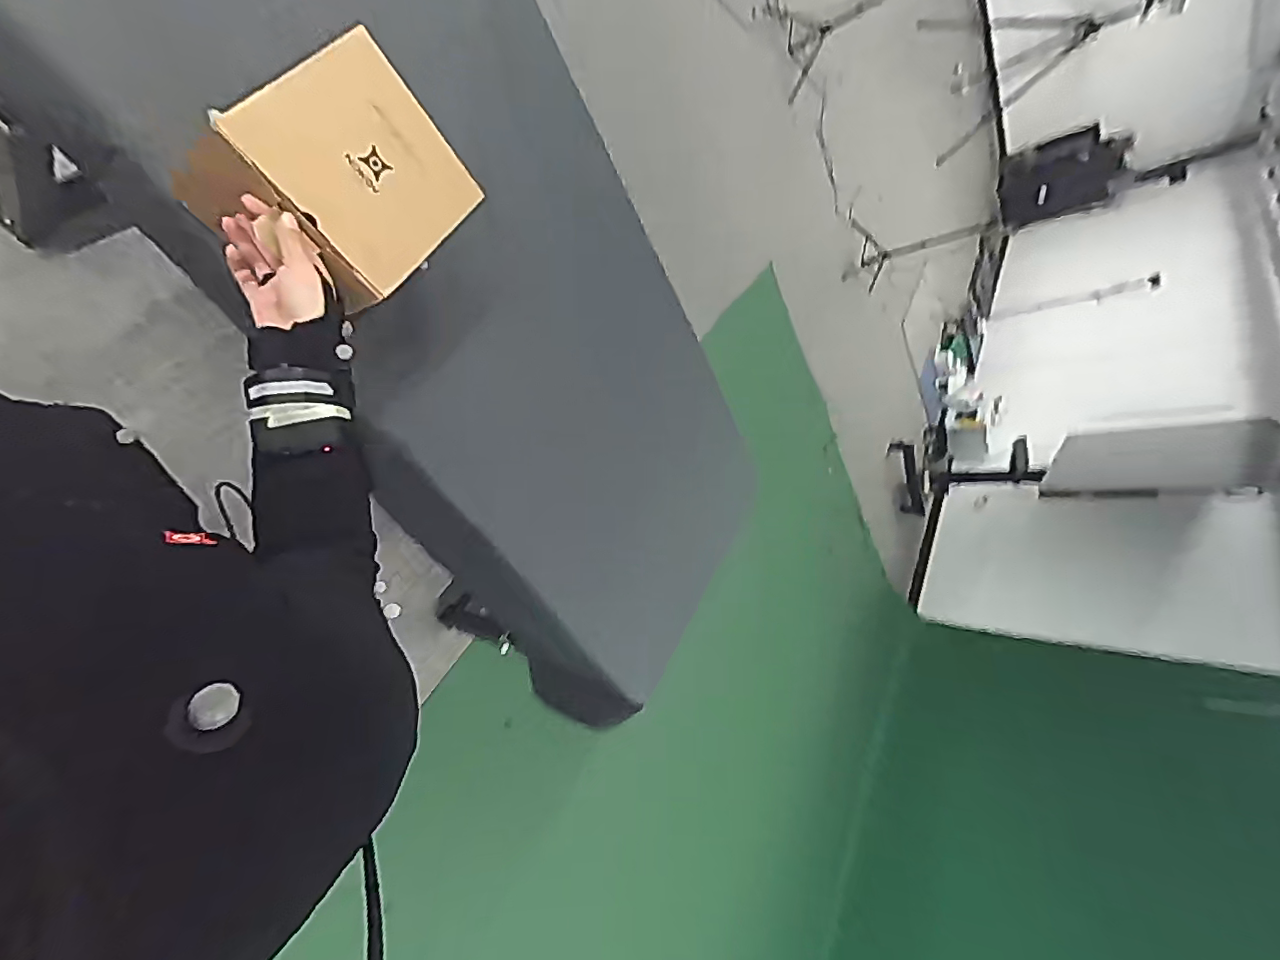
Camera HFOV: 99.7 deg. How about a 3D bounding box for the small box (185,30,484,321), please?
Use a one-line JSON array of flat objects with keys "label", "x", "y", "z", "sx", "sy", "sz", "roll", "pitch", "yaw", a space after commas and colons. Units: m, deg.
[{"label": "small box", "x": -0.299, "y": -0.280, "z": 0.534, "sx": 0.168, "sy": 0.176, "sz": 0.179, "roll": 51, "pitch": 55, "yaw": -40}]
